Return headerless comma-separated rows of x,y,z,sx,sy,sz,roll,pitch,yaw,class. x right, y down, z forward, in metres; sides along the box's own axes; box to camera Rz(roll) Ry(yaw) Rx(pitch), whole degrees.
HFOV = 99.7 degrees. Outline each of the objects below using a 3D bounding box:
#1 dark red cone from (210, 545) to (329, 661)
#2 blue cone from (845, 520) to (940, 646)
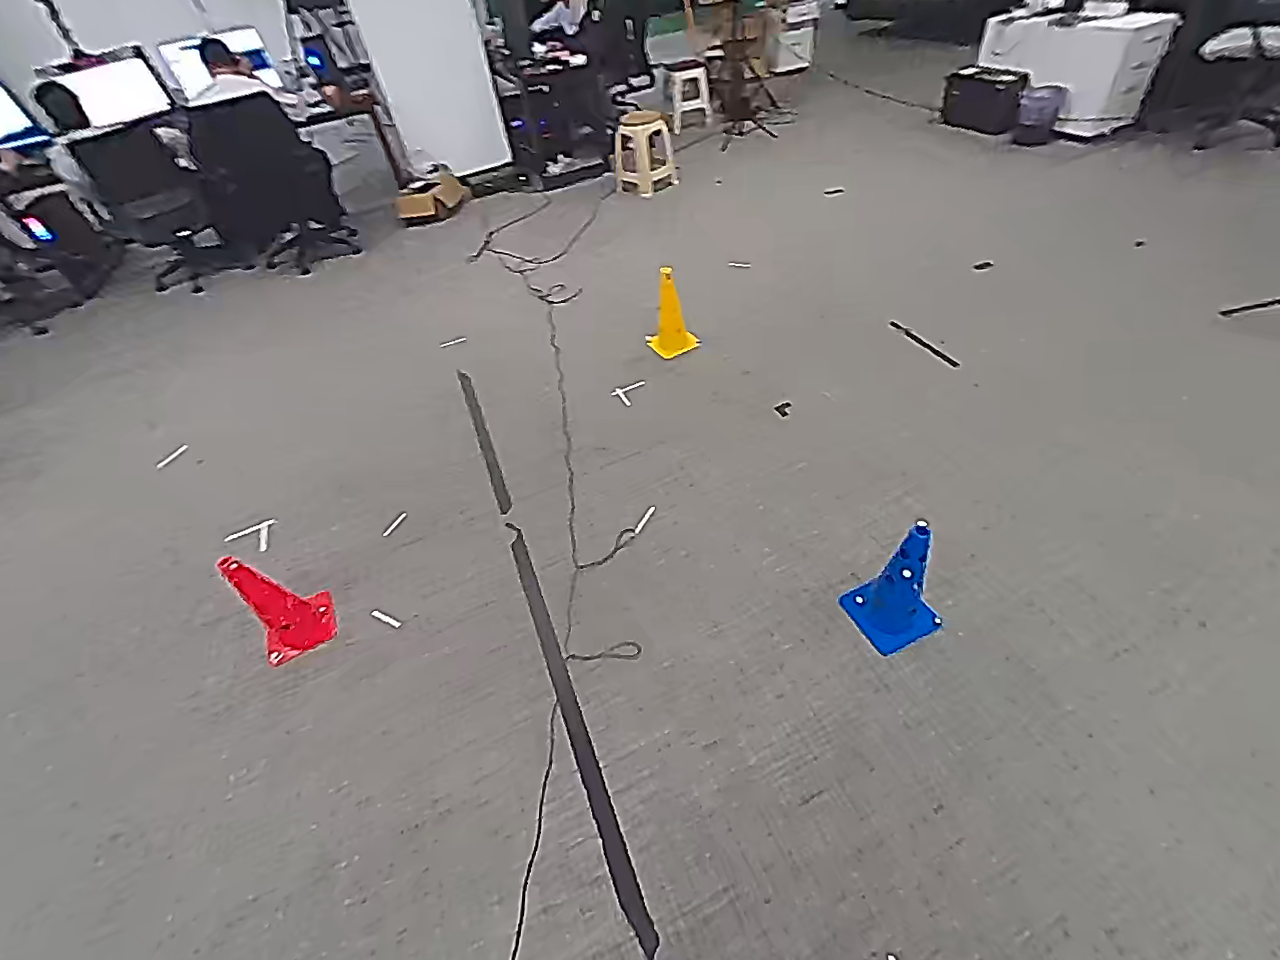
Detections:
-1.084,0.324,1.546,0.201,0.394,0.202,-27,47,-17,dark red cone
0.663,0.235,1.354,0.192,0.380,0.193,-21,46,-11,blue cone
